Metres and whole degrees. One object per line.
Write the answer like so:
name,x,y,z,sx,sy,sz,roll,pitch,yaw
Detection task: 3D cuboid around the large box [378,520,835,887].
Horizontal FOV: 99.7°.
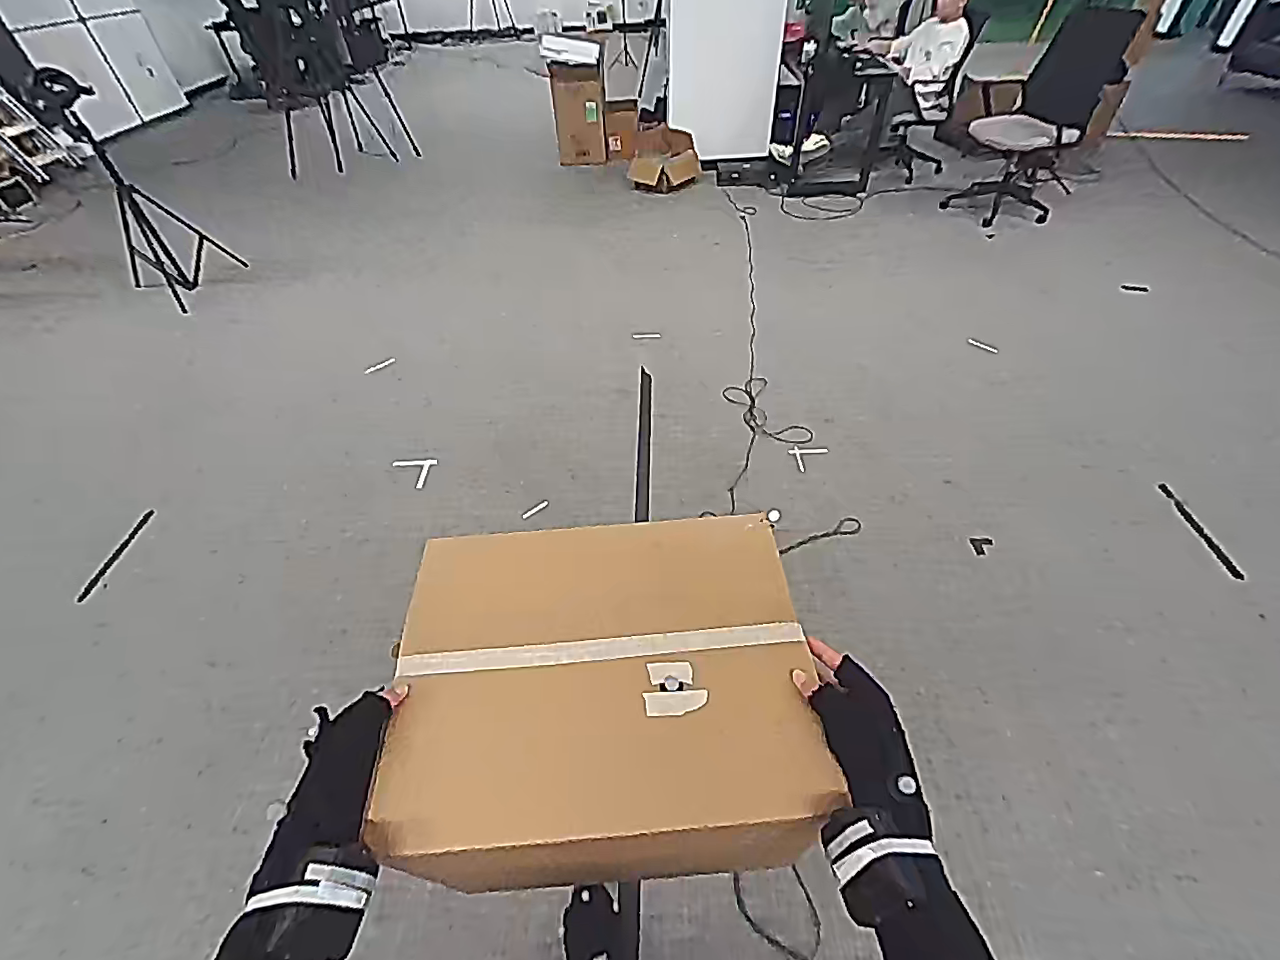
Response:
large box,-0.035,0.277,0.669,0.408,0.320,0.320,-4,49,-2
